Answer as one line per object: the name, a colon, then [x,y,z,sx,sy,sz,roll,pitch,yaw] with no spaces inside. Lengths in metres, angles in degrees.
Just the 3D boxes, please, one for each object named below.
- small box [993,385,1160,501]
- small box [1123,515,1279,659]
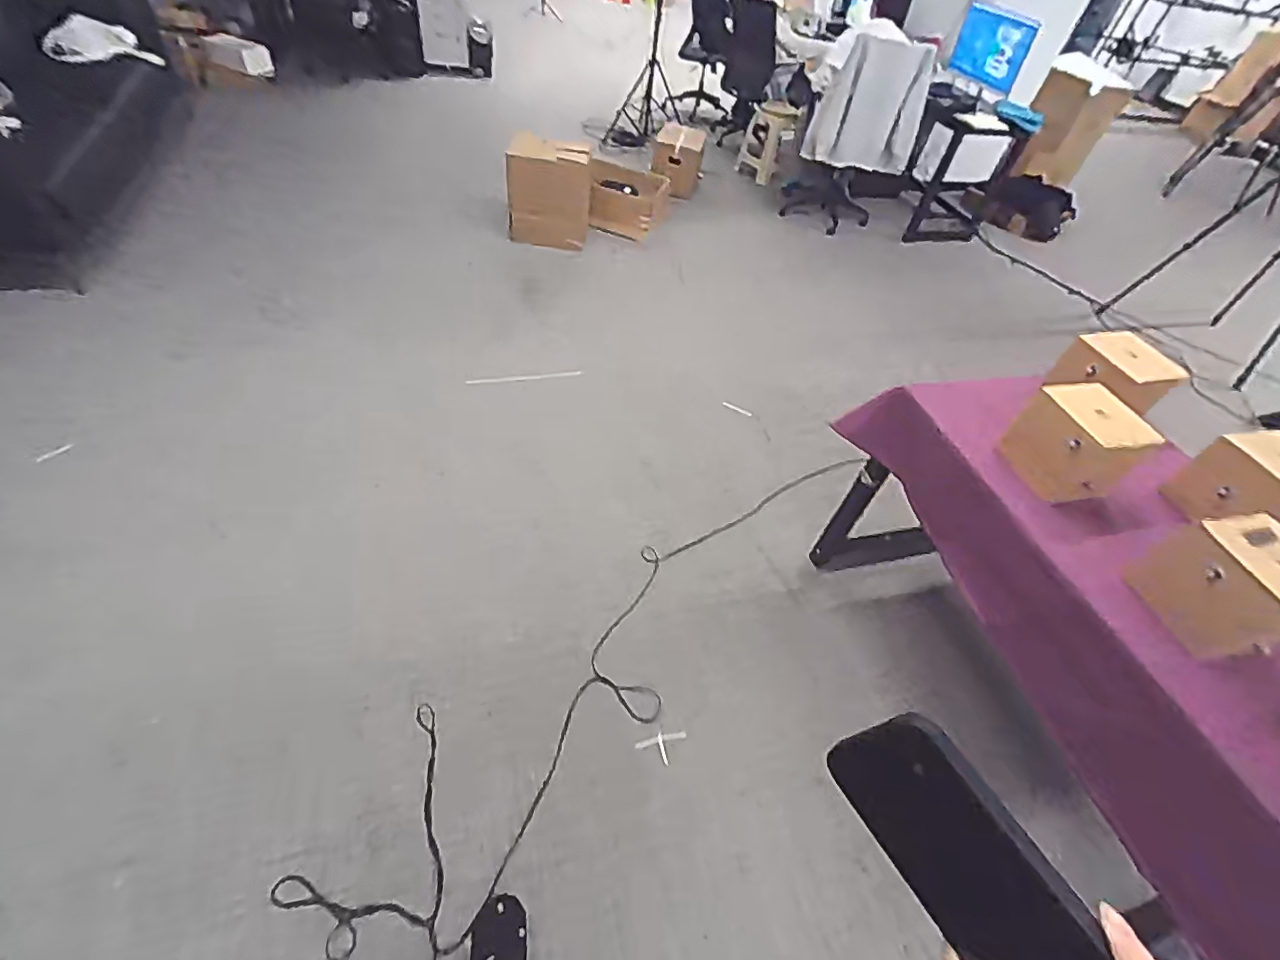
small box: [0.902,-0.078,1.139,0.168,0.176,0.179,-5,51,-15]
small box: [1.005,0.183,0.926,0.168,0.176,0.179,-4,51,-13]
